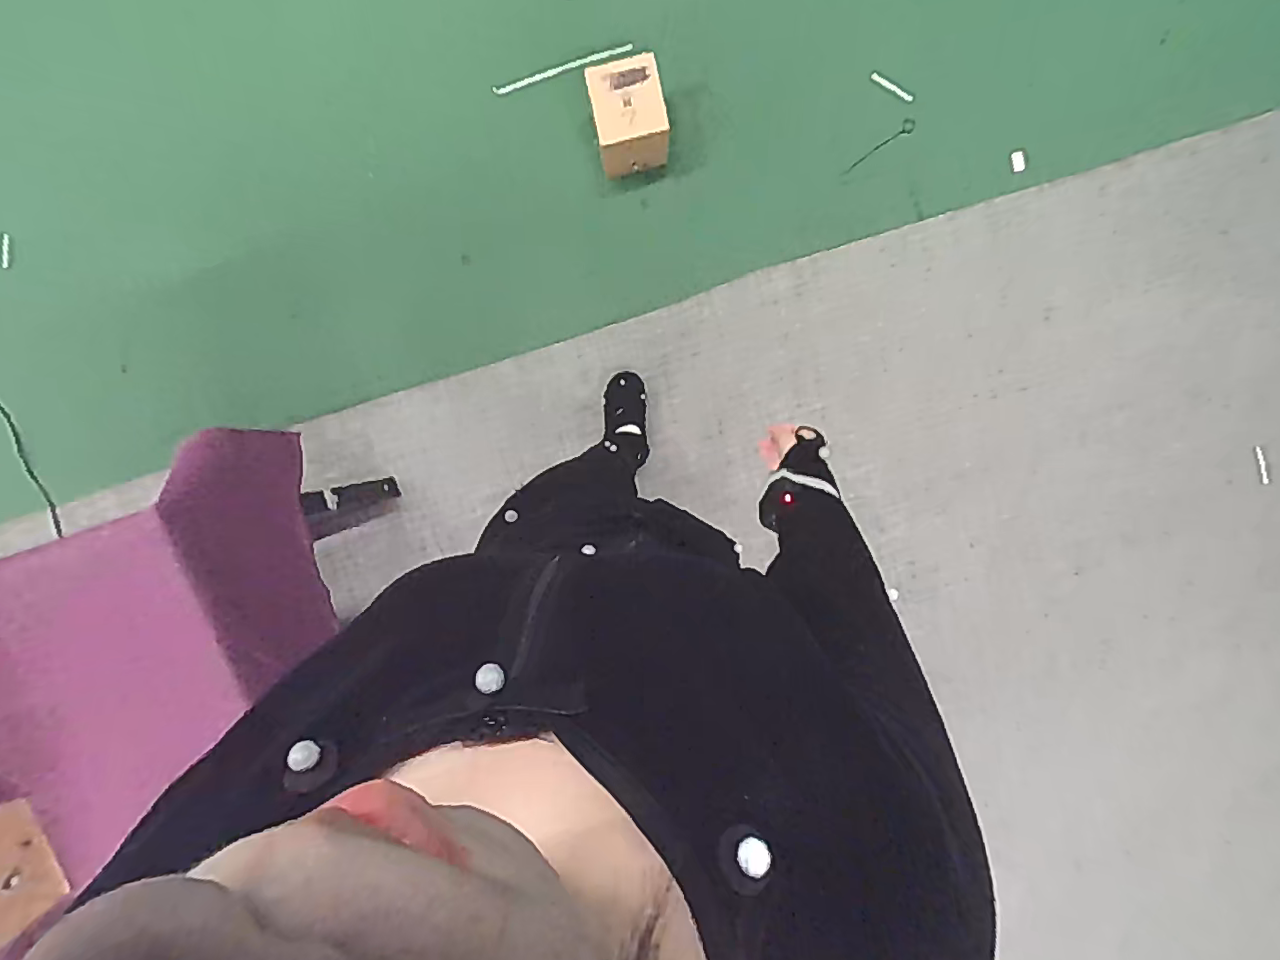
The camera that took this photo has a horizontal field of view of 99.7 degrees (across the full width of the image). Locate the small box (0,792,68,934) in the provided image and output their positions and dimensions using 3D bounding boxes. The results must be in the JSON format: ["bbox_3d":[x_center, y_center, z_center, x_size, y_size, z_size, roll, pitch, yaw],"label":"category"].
[{"bbox_3d":[-0.979,0.578,0.747,0.179,0.176,0.168,-20,95,2],"label":"small box"}]
